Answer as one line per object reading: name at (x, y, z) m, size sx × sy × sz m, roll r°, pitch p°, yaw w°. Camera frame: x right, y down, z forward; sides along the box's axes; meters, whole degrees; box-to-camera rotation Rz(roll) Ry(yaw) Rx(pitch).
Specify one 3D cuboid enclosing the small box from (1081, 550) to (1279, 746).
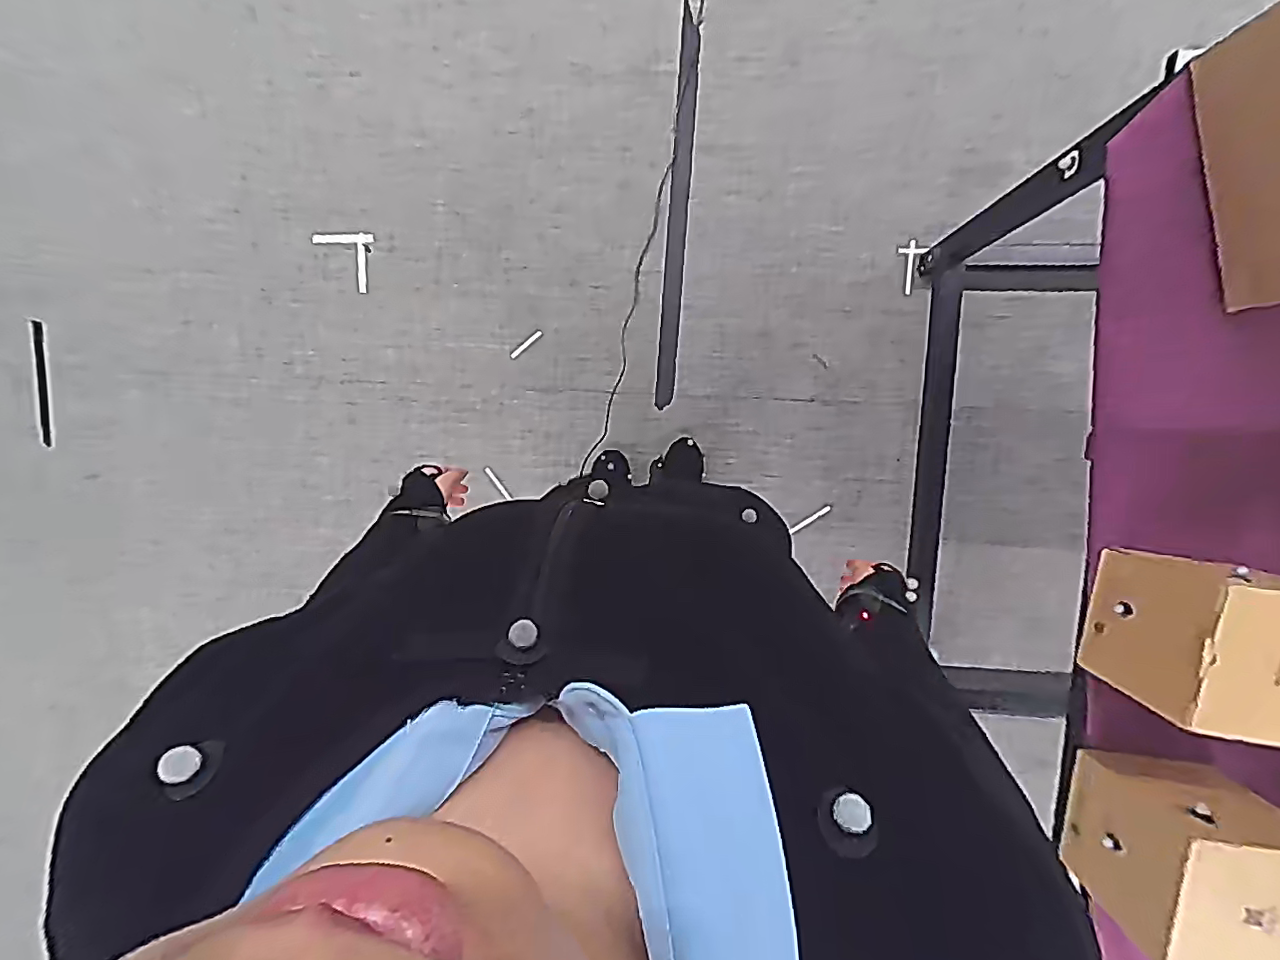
small box at (0.680, 0.188, 0.633) m, size 0.179 × 0.176 × 0.168 m, roll 8°, pitch 96°, yaw 4°

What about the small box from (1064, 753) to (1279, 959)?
small box at (0.669, 0.462, 0.658) m, size 0.179 × 0.176 × 0.168 m, roll 6°, pitch 96°, yaw 2°
